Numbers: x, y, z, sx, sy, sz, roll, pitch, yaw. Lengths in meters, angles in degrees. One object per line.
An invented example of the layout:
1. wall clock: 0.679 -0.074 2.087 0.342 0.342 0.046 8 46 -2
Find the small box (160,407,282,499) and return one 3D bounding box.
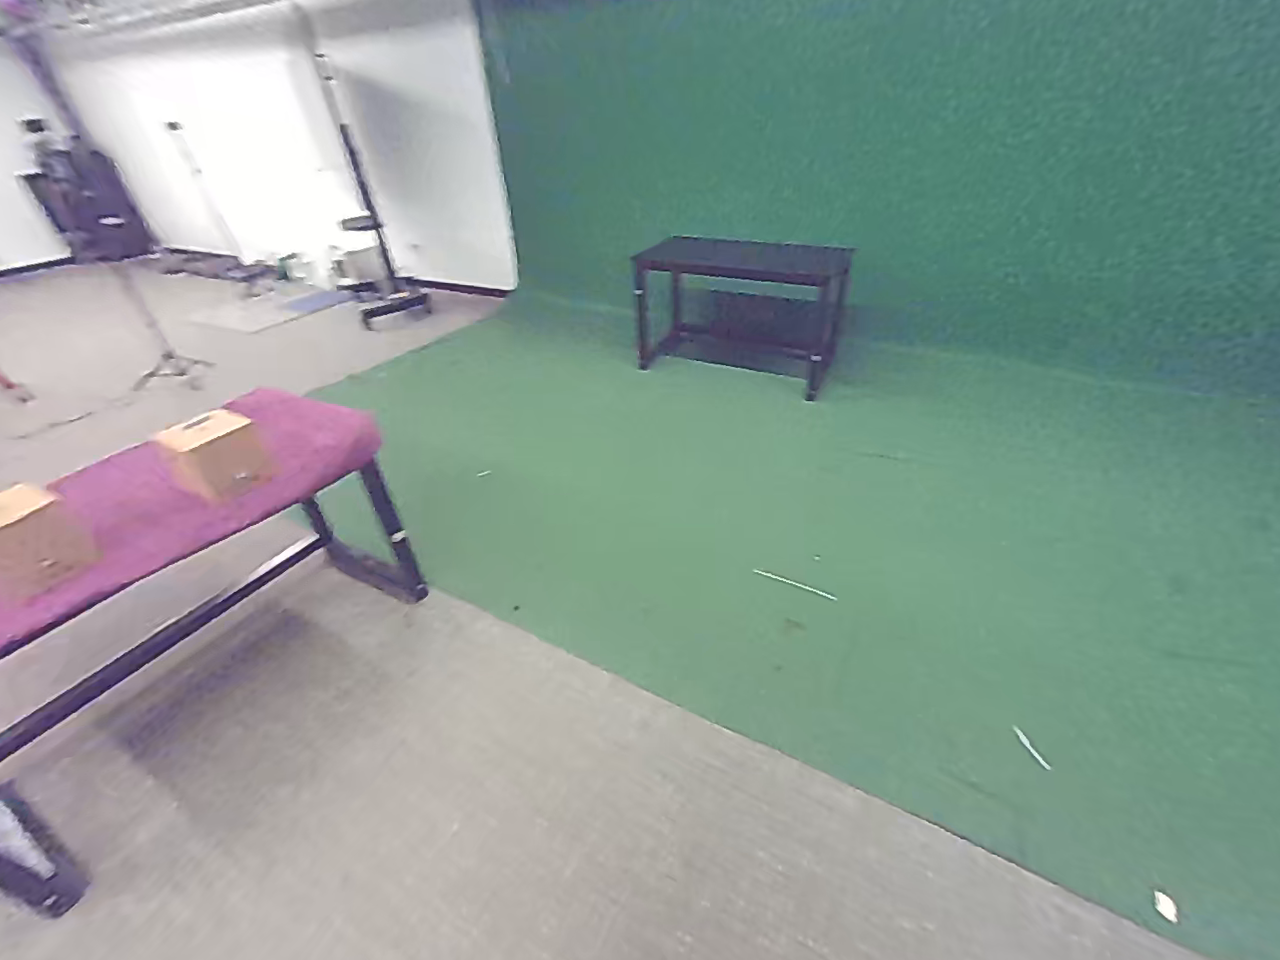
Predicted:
1. small box: -1.104 -0.071 1.435 0.179 0.176 0.168 17 40 26

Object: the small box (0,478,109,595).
1. small box: -1.328 0.123 1.173 0.179 0.176 0.168 14 39 25
